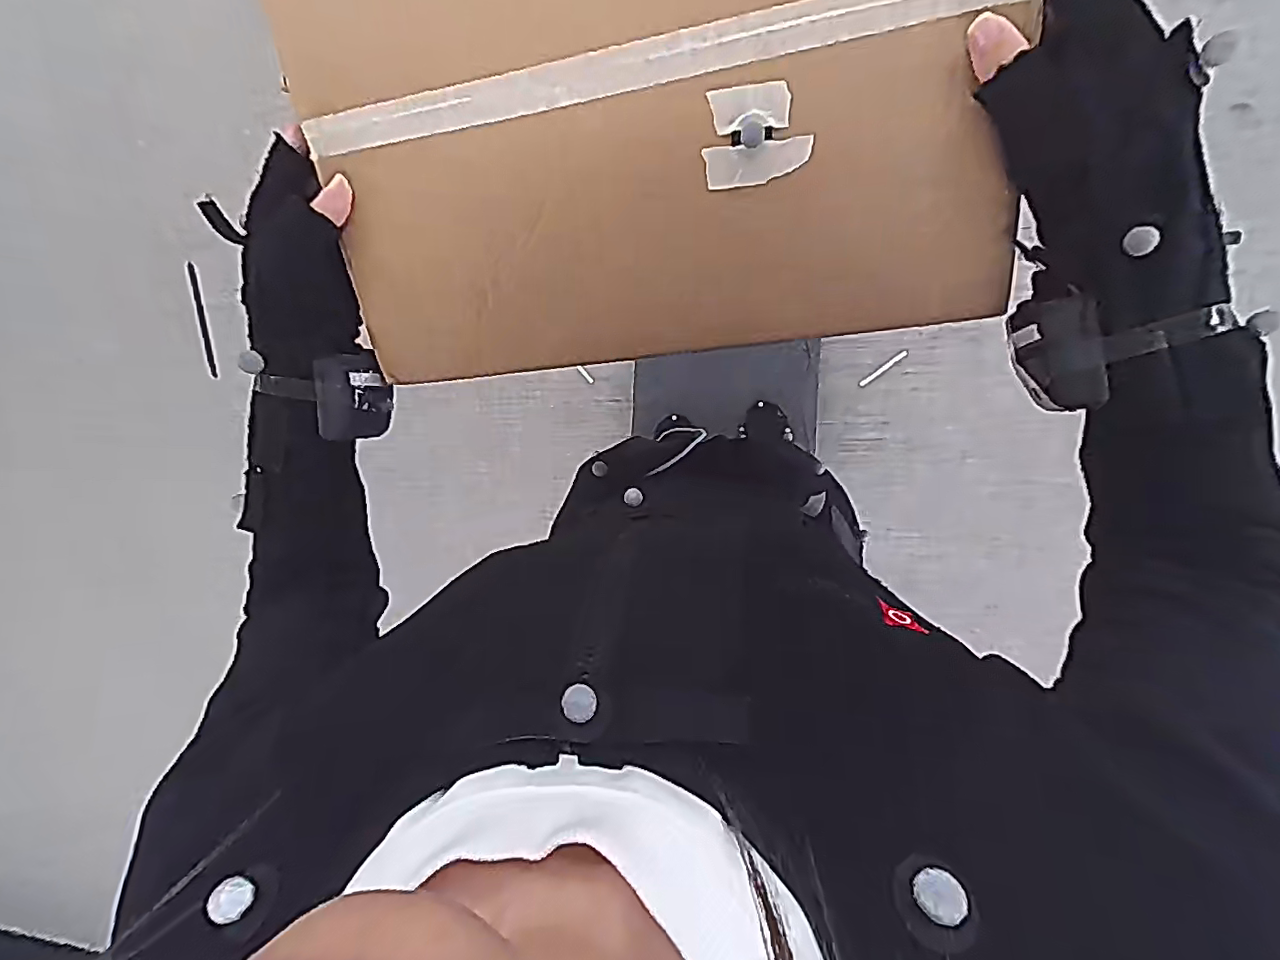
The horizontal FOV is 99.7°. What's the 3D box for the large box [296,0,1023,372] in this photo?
[{"bbox_3d":[0.020,-0.291,0.443,0.408,0.320,0.320,-4,112,11],"label":"large box"}]
